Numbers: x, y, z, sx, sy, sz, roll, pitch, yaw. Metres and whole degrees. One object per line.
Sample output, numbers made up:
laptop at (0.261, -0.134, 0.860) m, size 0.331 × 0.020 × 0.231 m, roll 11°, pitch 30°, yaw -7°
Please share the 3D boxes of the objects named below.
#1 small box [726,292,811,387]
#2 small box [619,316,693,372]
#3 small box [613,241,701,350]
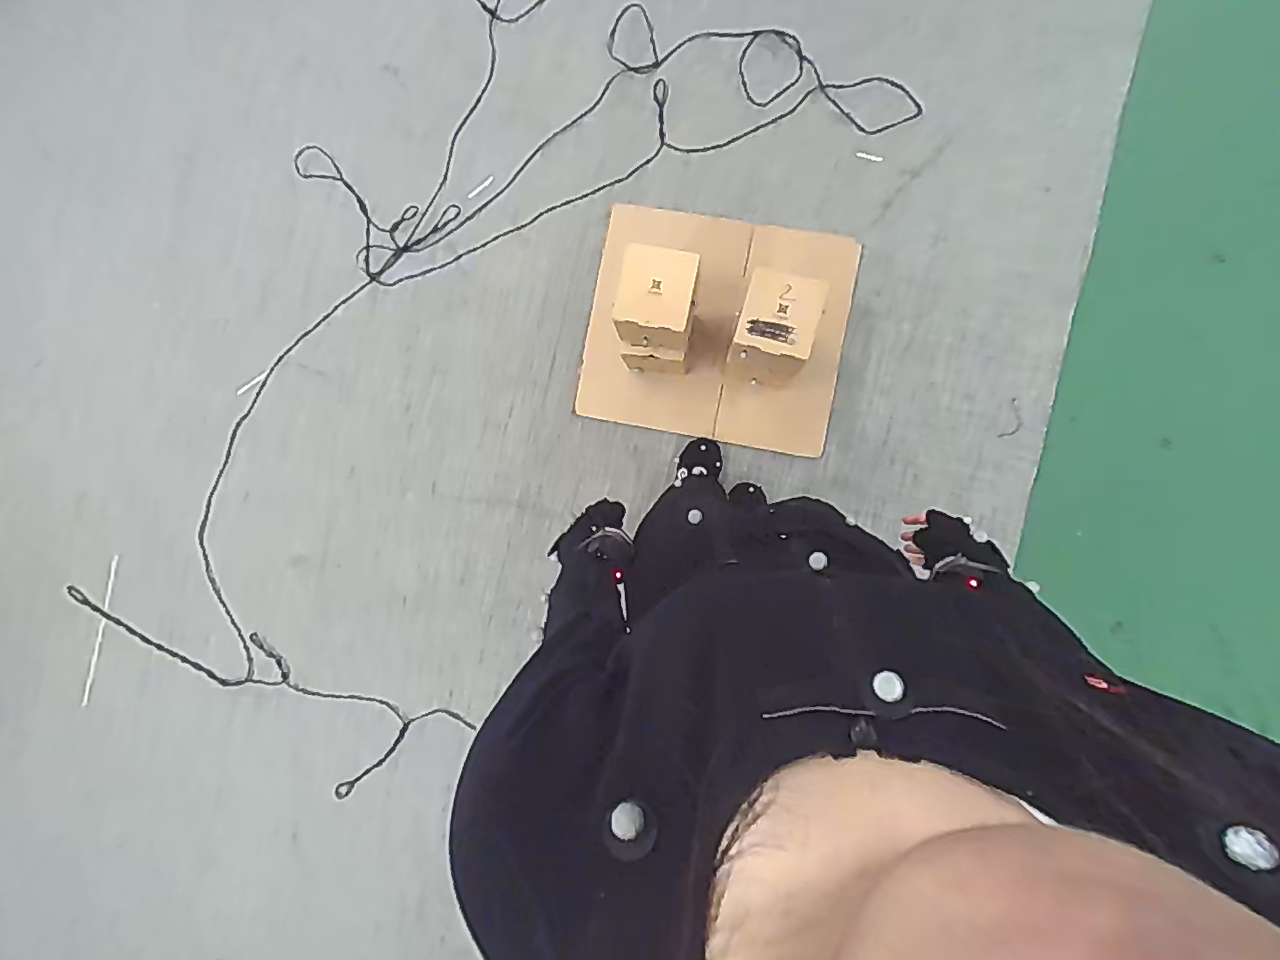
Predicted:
small box at (0.323, -0.354, 1.394) m, size 0.168 × 0.176 × 0.179 m, roll 16°, pitch 91°, yaw 7°
small box at (0.048, -0.392, 1.418) m, size 0.168 × 0.176 × 0.179 m, roll 9°, pitch 90°, yaw 6°
small box at (0.042, -0.421, 1.256) m, size 0.168 × 0.176 × 0.179 m, roll 12°, pitch 90°, yaw 5°
